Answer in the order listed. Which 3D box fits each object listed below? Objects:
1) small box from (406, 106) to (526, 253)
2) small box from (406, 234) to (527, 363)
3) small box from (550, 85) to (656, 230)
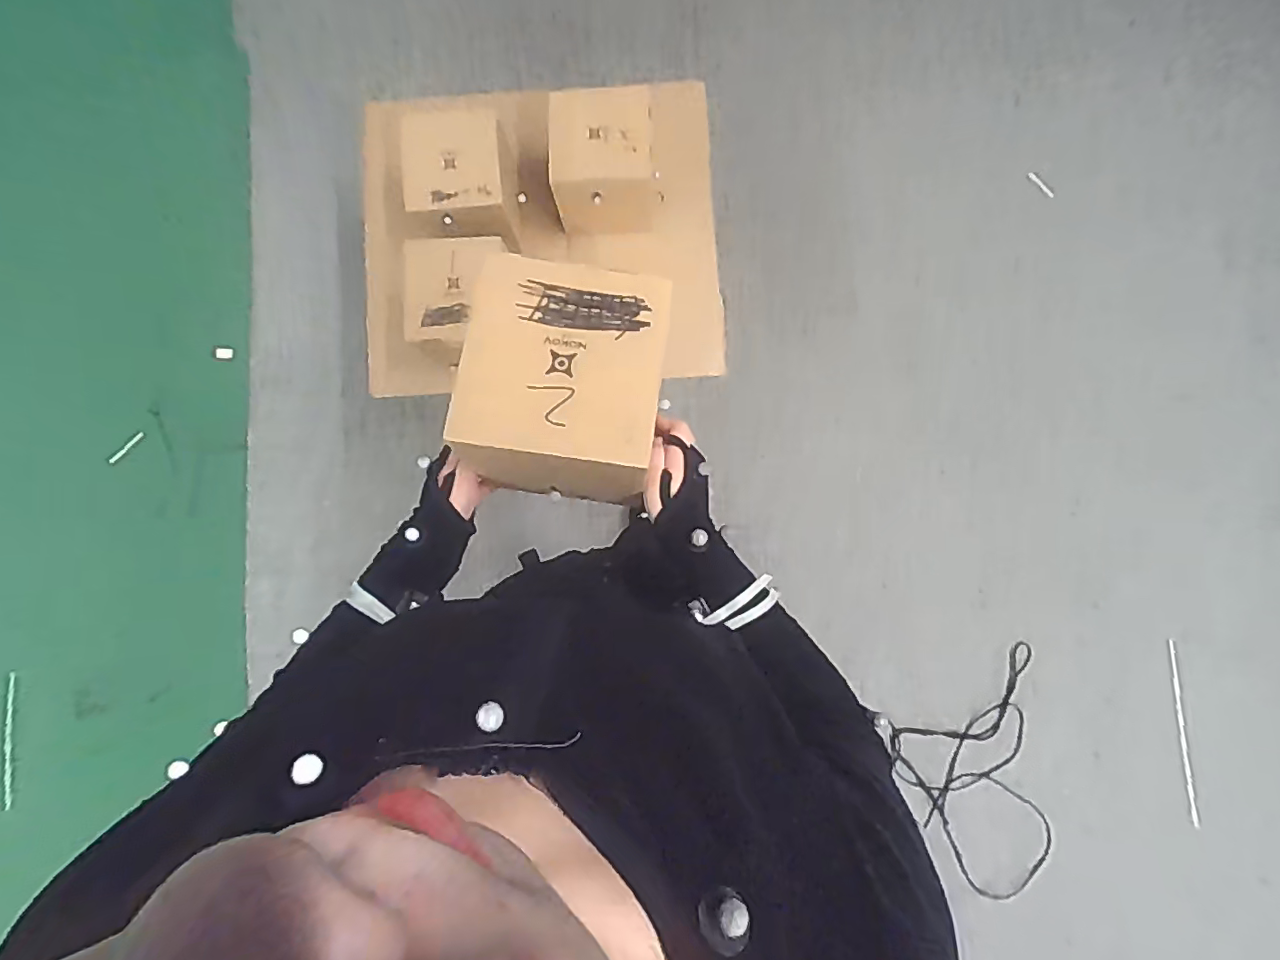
[{"bbox_3d":[-0.310,-0.536,0.988,0.168,0.176,0.179,-4,84,2],"label":"small box"},{"bbox_3d":[-0.302,-0.315,0.973,0.168,0.176,0.179,-2,85,1],"label":"small box"},{"bbox_3d":[-0.061,-0.577,0.989,0.179,0.176,0.168,-1,86,2],"label":"small box"}]
